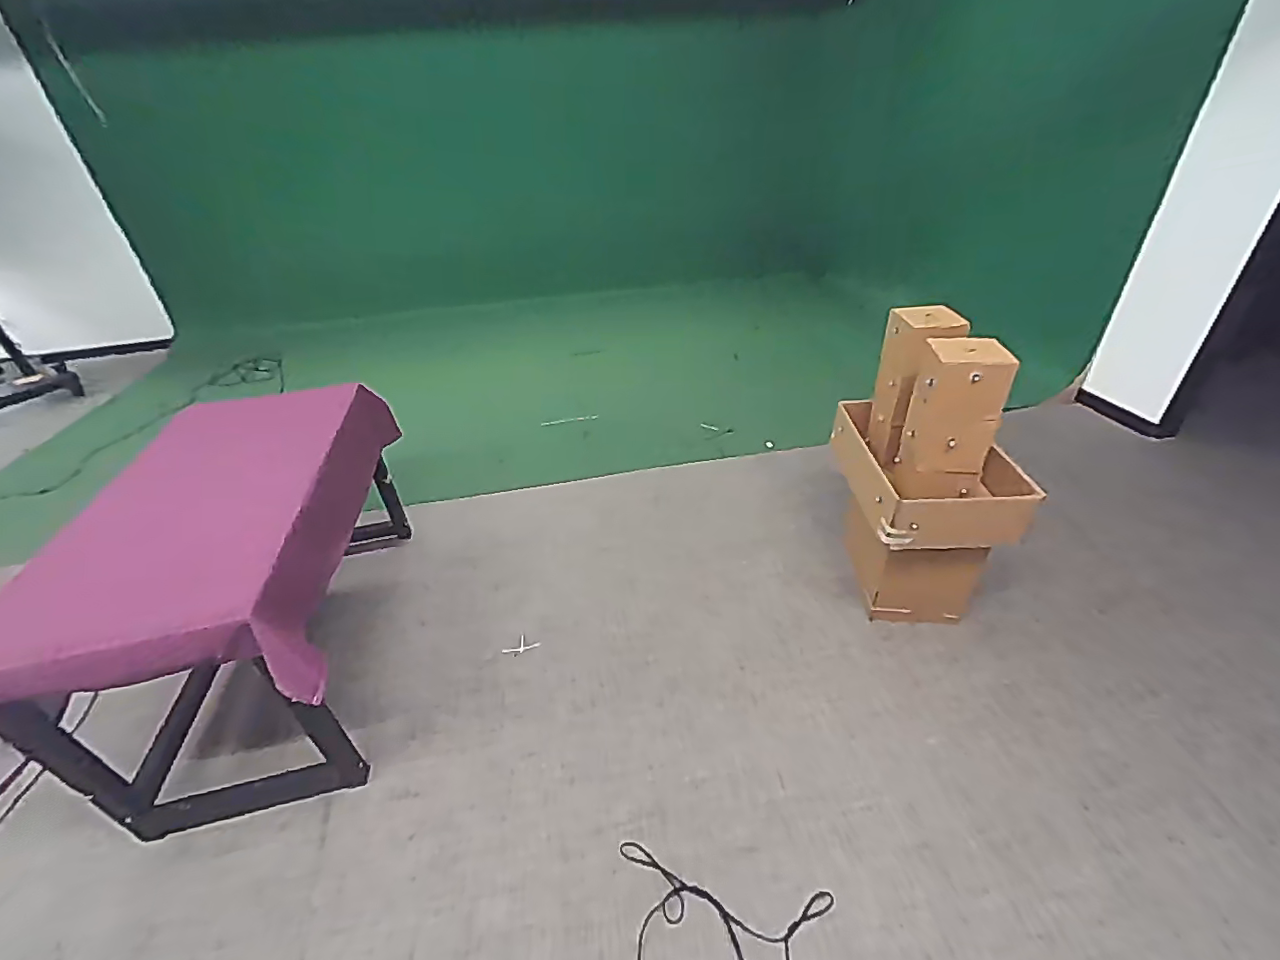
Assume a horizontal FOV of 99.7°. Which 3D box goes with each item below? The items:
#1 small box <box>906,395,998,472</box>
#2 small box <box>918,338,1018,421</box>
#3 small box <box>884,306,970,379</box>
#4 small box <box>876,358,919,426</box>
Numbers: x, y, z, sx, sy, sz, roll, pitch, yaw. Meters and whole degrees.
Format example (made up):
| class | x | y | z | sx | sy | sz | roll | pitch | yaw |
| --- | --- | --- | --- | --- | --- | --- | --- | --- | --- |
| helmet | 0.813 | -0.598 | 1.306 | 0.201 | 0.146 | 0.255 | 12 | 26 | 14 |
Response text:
| class | x | y | z | sx | sy | sz | roll | pitch | yaw |
| --- | --- | --- | --- | --- | --- | --- | --- | --- | --- |
| small box | 0.875 | -0.134 | 1.538 | 0.179 | 0.176 | 0.168 | 0 | 35 | 9 |
| small box | 0.863 | -0.269 | 1.446 | 0.179 | 0.176 | 0.168 | 3 | 36 | 9 |
| small box | 0.878 | -0.426 | 1.675 | 0.168 | 0.176 | 0.179 | -4 | 36 | 2 |
| small box | 0.893 | -0.292 | 1.771 | 0.168 | 0.176 | 0.179 | -3 | 36 | 3 |
